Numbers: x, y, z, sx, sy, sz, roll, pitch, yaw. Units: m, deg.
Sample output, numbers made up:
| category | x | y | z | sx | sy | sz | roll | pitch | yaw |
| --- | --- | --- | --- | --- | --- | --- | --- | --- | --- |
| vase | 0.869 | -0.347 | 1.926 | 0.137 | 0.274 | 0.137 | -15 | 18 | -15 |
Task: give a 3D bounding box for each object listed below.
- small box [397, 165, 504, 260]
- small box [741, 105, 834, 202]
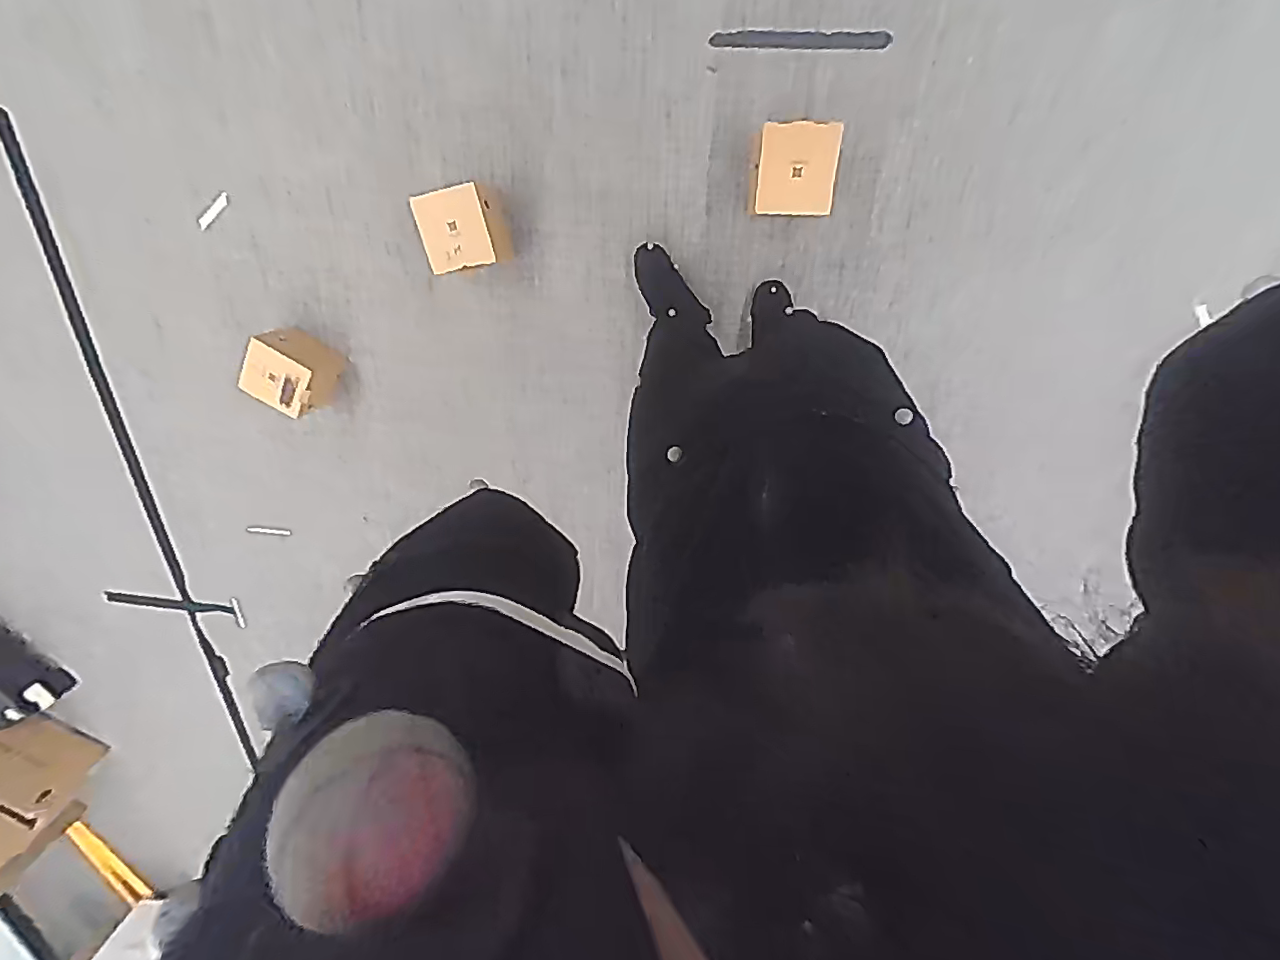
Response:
| category | x | y | z | sx | sy | sz | roll | pitch | yaw |
| --- | --- | --- | --- | --- | --- | --- | --- | --- | --- |
| small box | -0.454 | -0.649 | 1.320 | 0.168 | 0.176 | 0.179 | -8 | 116 | 9 |
| small box | 0.322 | -0.727 | 1.219 | 0.168 | 0.176 | 0.179 | 3 | 116 | 3 |
